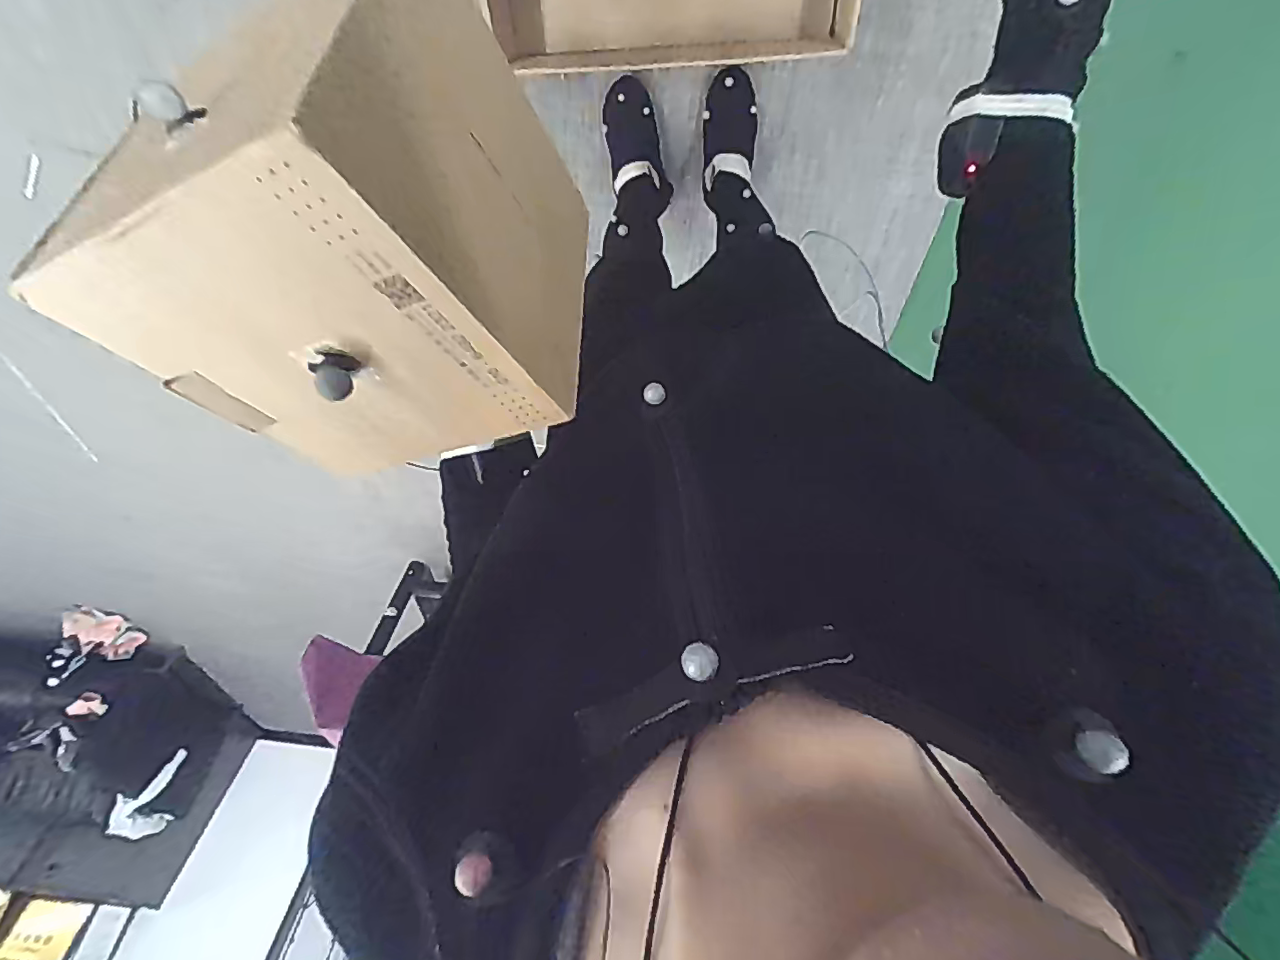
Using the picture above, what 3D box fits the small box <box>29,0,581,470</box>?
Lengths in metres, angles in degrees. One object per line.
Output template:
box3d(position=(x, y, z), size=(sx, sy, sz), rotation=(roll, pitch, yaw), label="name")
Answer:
box3d(position=(-0.144, -0.130, 0.294), size=(0.176, 0.179, 0.168), rotation=(-11, 150, 21), label="small box")
